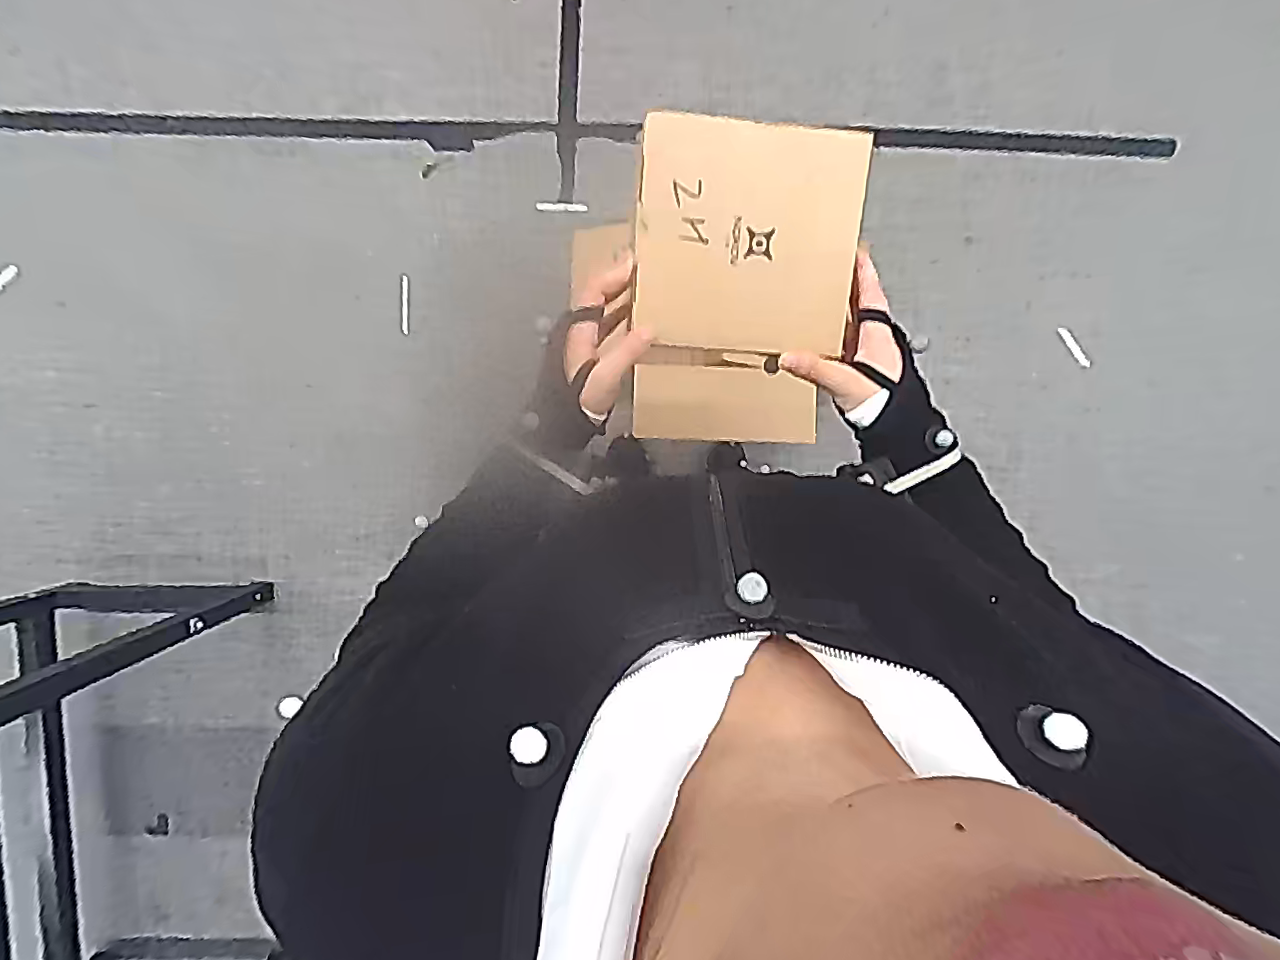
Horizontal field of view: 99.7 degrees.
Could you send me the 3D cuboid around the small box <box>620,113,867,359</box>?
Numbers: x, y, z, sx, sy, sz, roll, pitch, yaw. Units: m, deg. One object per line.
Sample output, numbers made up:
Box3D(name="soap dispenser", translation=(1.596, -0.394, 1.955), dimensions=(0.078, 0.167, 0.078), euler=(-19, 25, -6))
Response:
Box3D(name="small box", translation=(0.076, -0.205, 0.499), dimensions=(0.179, 0.176, 0.168), euler=(3, 103, -4))
